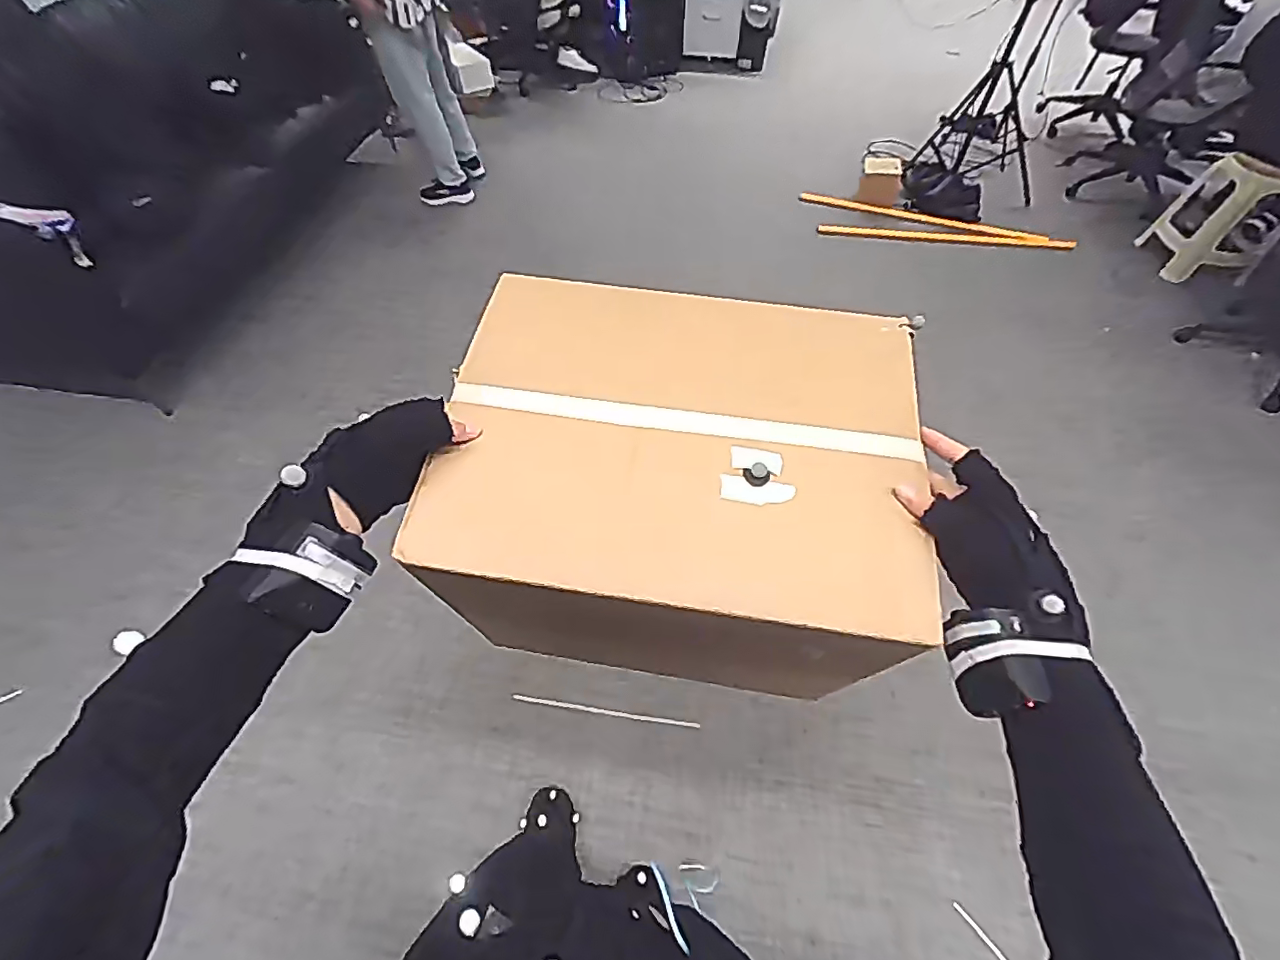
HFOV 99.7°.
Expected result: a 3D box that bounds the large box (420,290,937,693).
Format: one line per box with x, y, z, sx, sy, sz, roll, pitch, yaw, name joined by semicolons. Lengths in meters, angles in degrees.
0.041;0.030;0.608;0.408;0.320;0.320;8;62;4;large box
